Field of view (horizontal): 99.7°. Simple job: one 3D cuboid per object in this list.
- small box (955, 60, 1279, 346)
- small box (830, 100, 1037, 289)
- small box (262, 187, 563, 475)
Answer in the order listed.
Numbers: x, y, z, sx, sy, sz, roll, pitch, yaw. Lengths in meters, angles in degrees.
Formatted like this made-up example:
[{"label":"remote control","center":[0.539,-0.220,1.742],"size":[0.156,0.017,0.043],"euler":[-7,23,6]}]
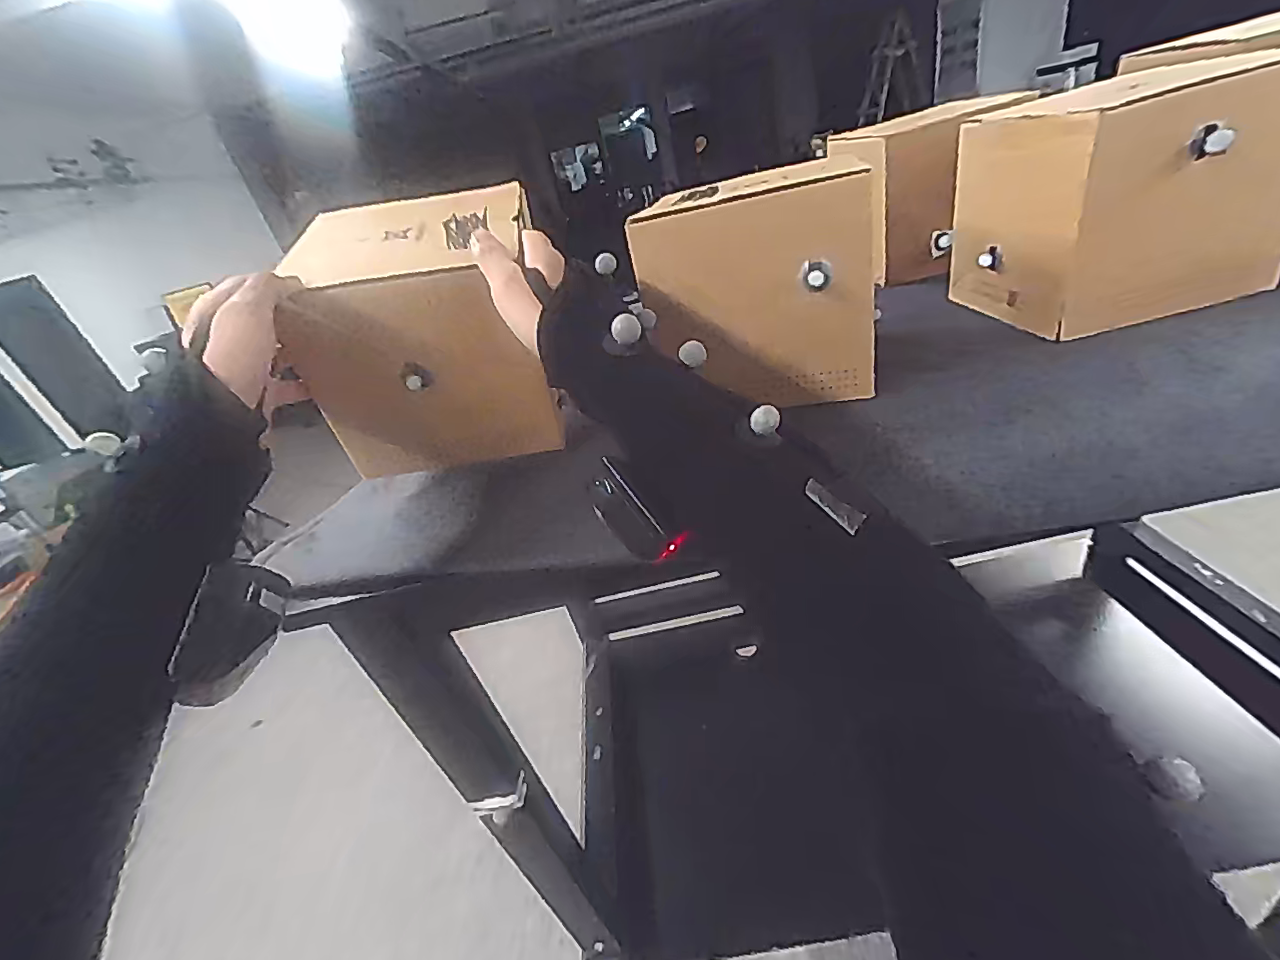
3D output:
[{"label":"small box","center":[0.406,-0.237,0.471],"size":[0.179,0.176,0.168],"euler":[-14,31,4]},{"label":"small box","center":[0.353,-0.357,0.688],"size":[0.168,0.176,0.179],"euler":[-14,32,4]},{"label":"small box","center":[-0.164,-0.126,0.466],"size":[0.179,0.176,0.168],"euler":[-10,44,-2]}]
